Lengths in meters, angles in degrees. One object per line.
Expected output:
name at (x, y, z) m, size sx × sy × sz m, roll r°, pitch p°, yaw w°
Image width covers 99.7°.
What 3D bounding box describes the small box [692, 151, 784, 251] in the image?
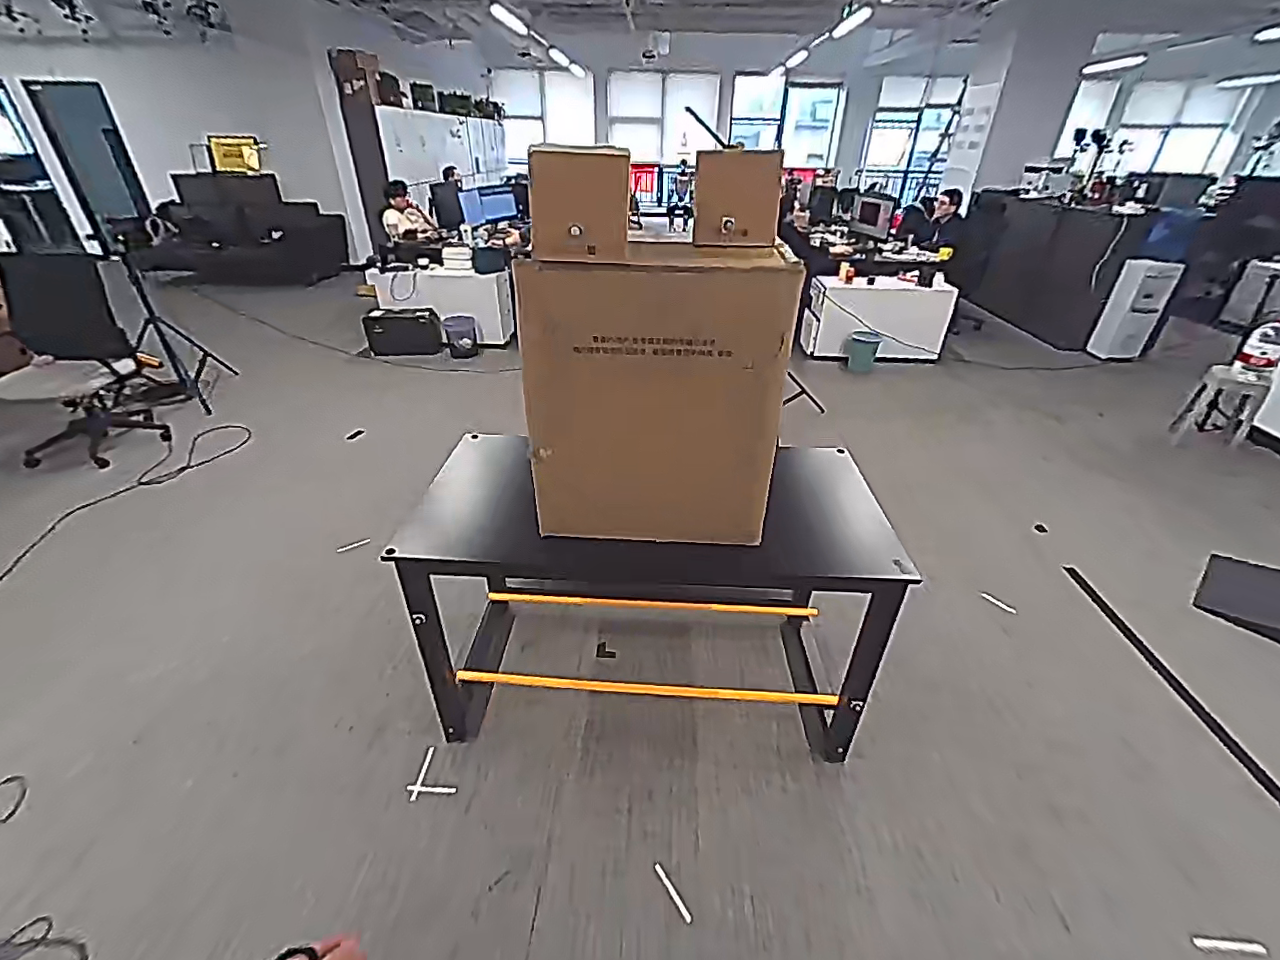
small box at (0.192, -0.573, 1.107) m, size 0.168 × 0.176 × 0.179 m, roll 1°, pitch 31°, yaw 5°
